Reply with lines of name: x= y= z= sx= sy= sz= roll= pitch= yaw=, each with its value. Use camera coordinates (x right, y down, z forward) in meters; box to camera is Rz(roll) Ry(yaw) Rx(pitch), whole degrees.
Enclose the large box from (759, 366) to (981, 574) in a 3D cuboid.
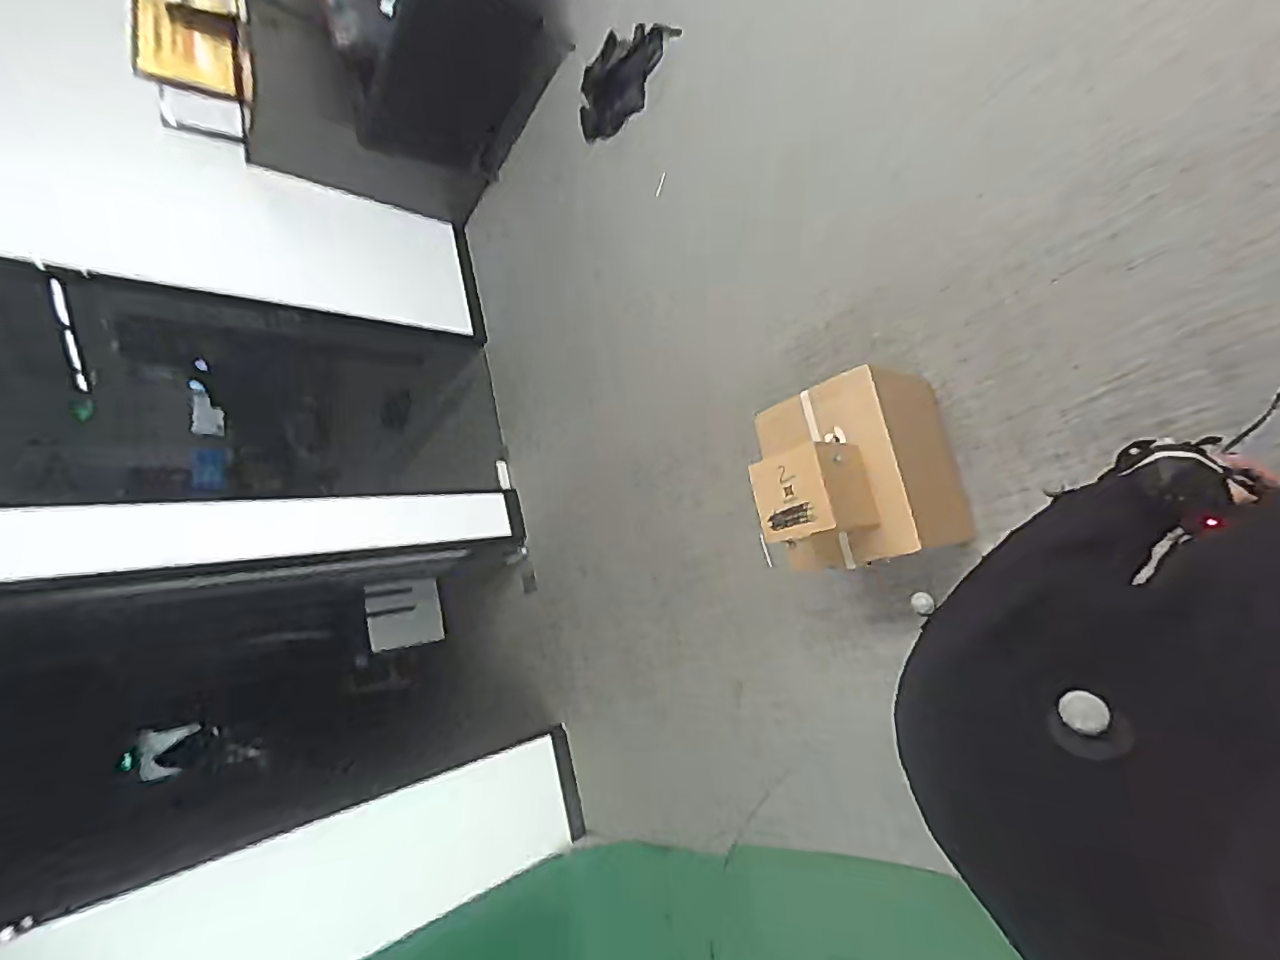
large box: x=0.544 y=-0.009 z=1.300 sx=0.320 sy=0.320 sz=0.408 roll=-25 pitch=71 yaw=46
